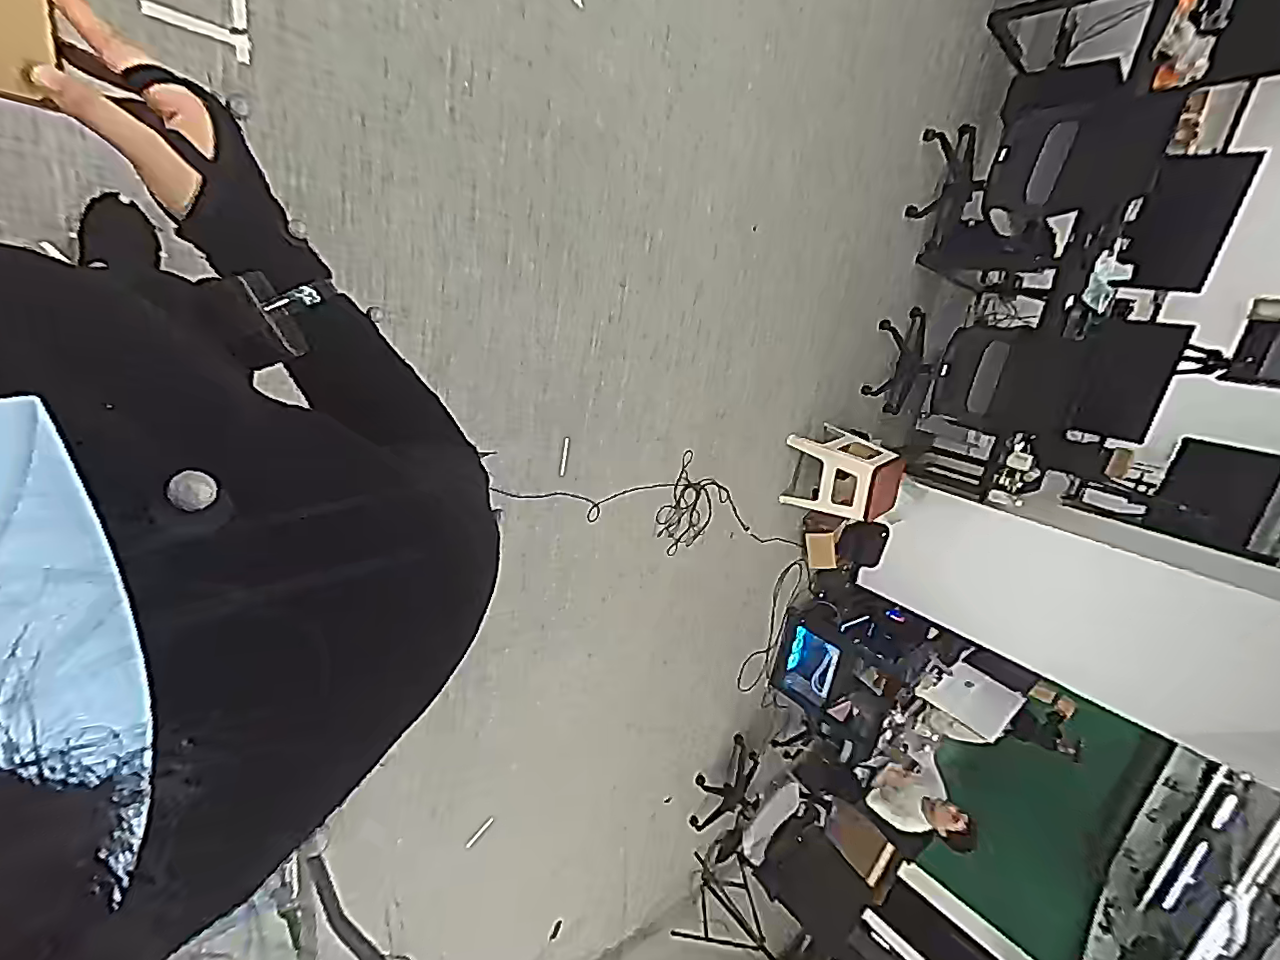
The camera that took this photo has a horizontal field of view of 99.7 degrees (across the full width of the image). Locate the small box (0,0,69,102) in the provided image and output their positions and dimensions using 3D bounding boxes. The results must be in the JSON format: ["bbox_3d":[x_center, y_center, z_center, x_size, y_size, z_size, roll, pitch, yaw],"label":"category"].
[{"bbox_3d":[-0.425,-0.328,0.280,0.168,0.176,0.179,-5,118,-43],"label":"small box"}]
